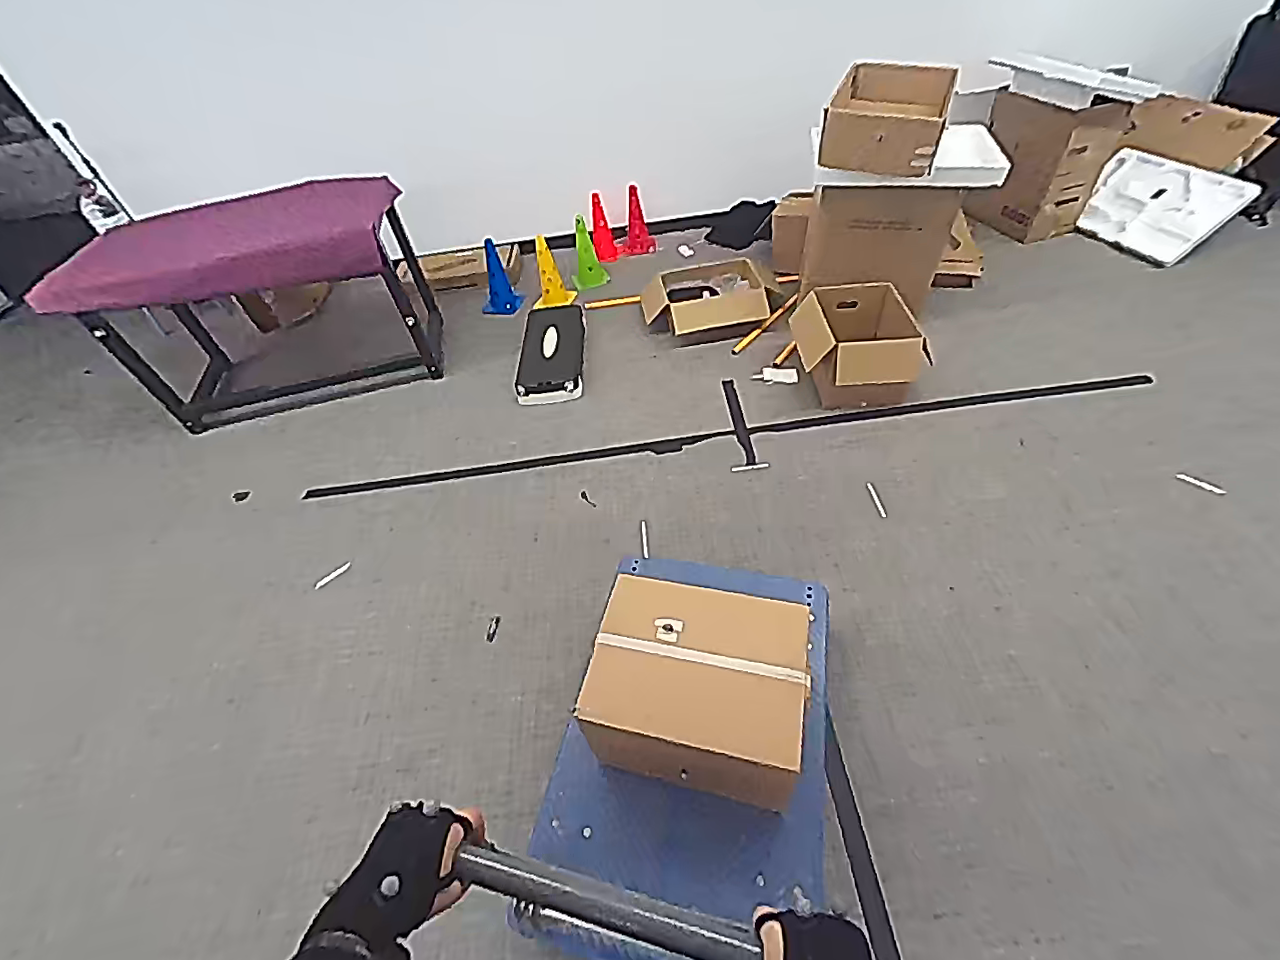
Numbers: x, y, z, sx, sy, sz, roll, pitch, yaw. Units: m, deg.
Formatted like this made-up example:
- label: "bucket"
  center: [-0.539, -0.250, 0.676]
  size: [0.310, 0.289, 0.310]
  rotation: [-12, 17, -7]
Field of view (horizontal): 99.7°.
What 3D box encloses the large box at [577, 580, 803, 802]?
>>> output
- label: "large box"
  center: [0.127, 0.448, 1.159]
  size: [0.408, 0.320, 0.320]
  rotation: [6, 48, 15]
